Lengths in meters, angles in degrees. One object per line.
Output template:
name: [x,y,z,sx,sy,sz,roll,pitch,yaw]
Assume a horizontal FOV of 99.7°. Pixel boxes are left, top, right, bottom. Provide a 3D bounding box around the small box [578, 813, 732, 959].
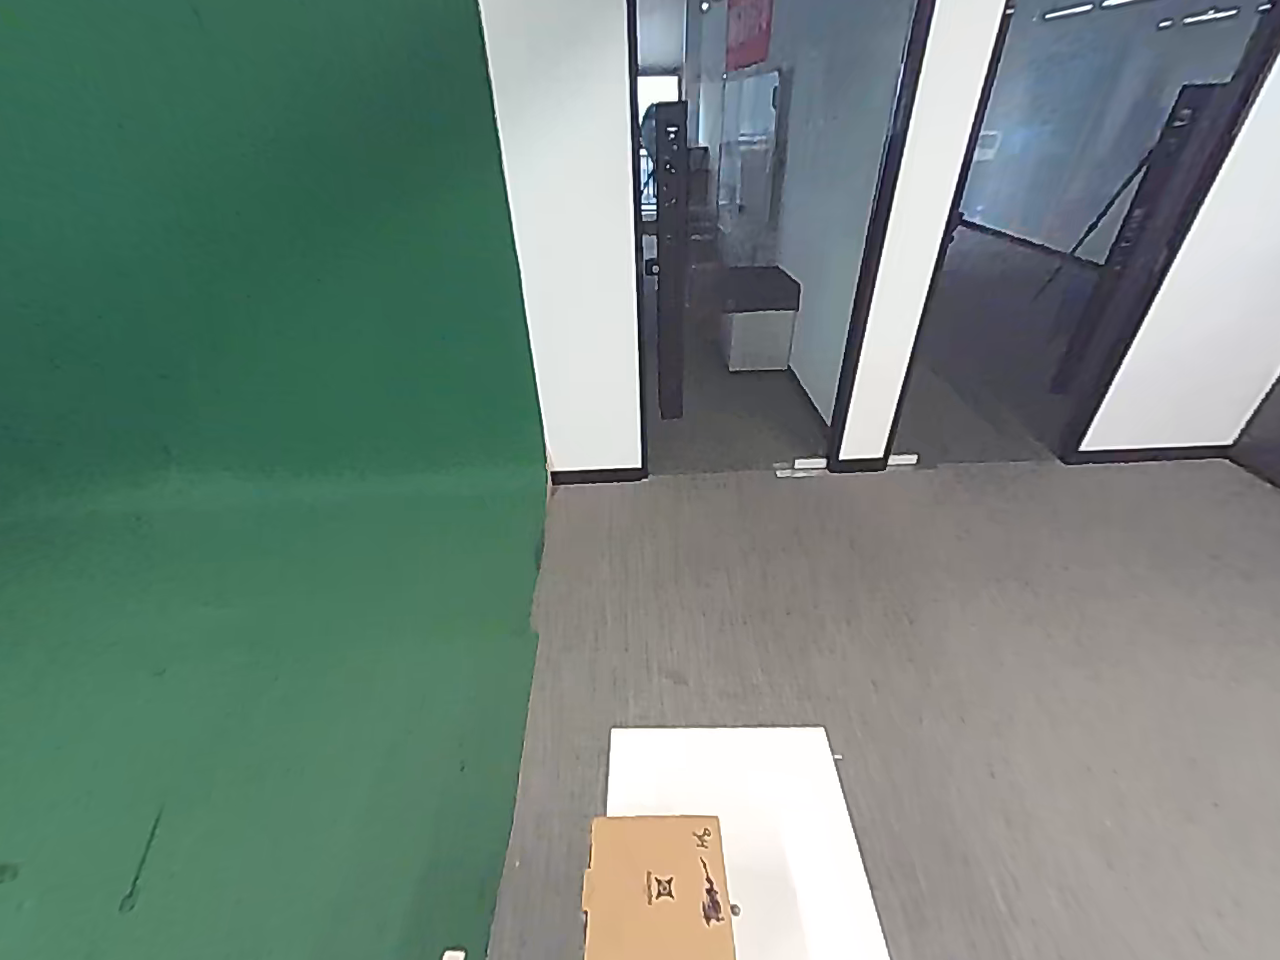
small box: [0.019,0.567,0.712,0.179,0.176,0.168,0,34,0]
